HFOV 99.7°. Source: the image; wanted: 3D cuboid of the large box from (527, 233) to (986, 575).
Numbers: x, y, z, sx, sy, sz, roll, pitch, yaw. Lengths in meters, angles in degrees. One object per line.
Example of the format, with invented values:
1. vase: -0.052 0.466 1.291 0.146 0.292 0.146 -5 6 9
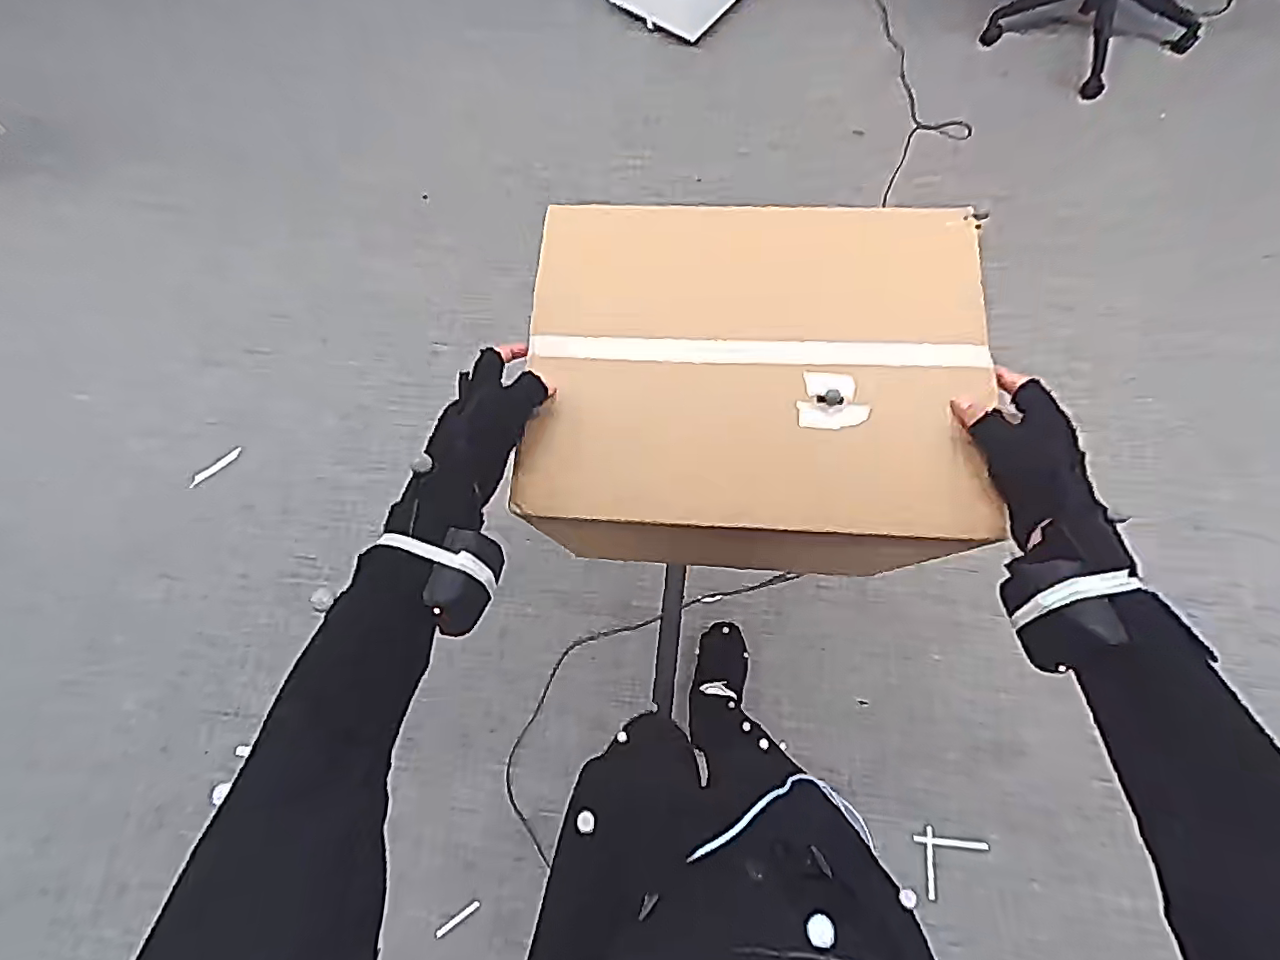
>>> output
1. large box: 0.109 -0.062 0.649 0.408 0.320 0.320 3 76 4
